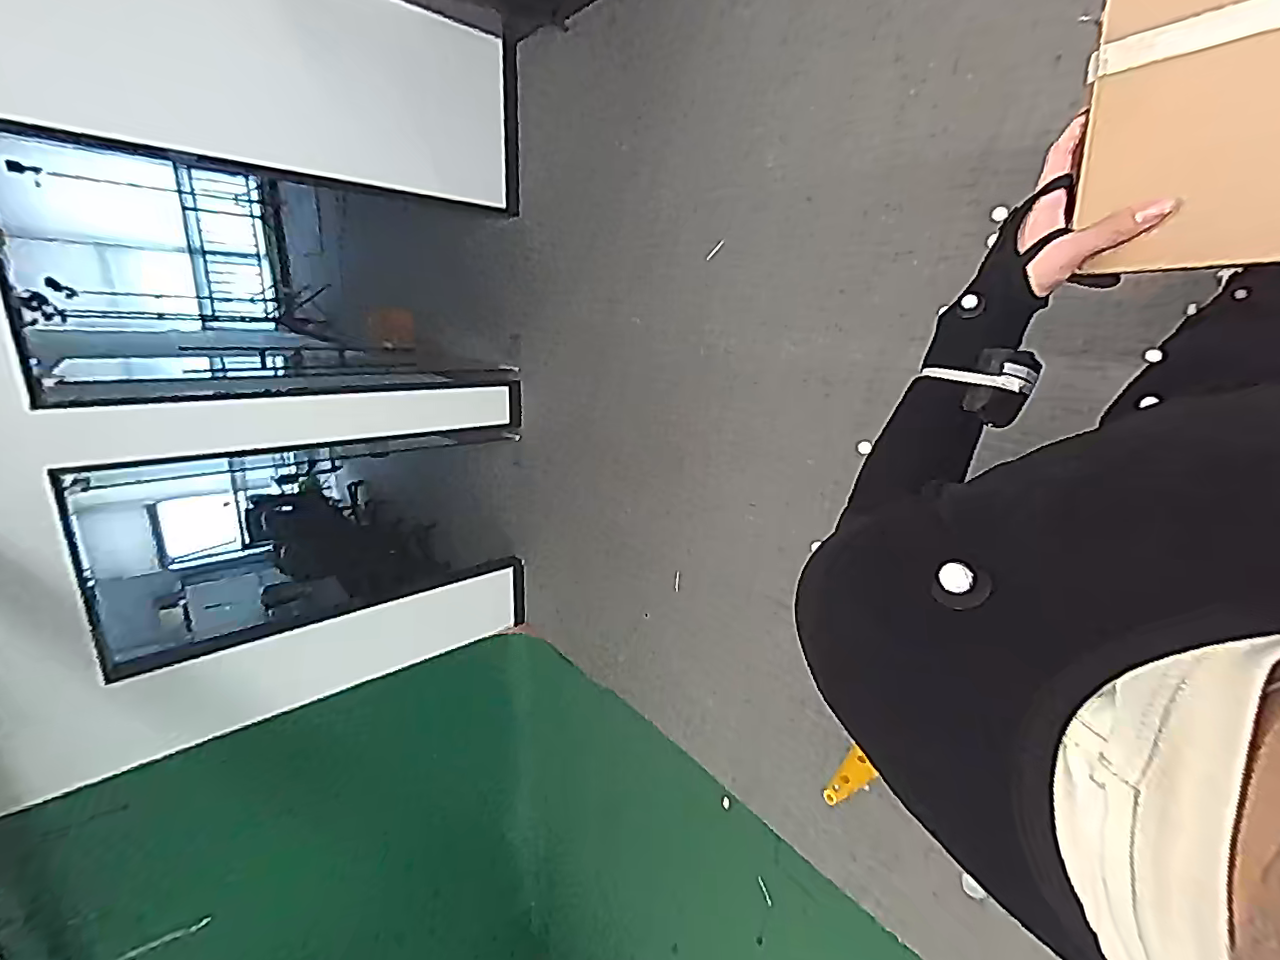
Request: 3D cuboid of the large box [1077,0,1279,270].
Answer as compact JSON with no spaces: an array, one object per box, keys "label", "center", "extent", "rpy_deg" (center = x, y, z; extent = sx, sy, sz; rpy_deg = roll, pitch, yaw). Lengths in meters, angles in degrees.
[{"label":"large box","center":[0.609,-0.333,0.378],"extent":[0.408,0.320,0.320],"rpy_deg":[15,116,46]}]
